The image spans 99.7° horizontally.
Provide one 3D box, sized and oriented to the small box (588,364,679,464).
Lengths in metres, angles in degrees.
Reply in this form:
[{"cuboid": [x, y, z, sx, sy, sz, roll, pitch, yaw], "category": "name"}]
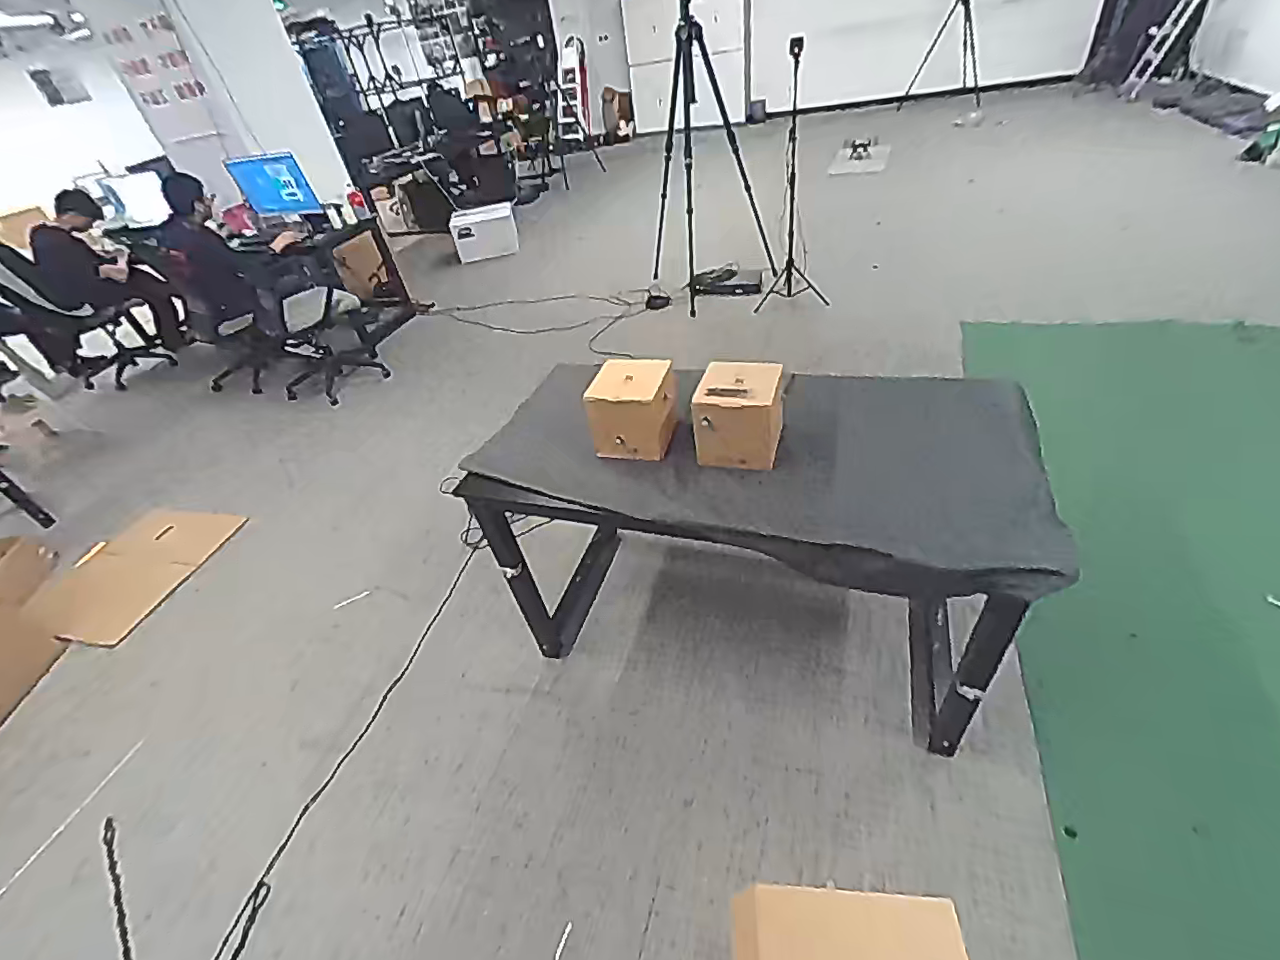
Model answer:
[{"cuboid": [-0.007, -0.161, 1.296, 0.168, 0.176, 0.179, 5, 43, 18], "category": "small box"}]
